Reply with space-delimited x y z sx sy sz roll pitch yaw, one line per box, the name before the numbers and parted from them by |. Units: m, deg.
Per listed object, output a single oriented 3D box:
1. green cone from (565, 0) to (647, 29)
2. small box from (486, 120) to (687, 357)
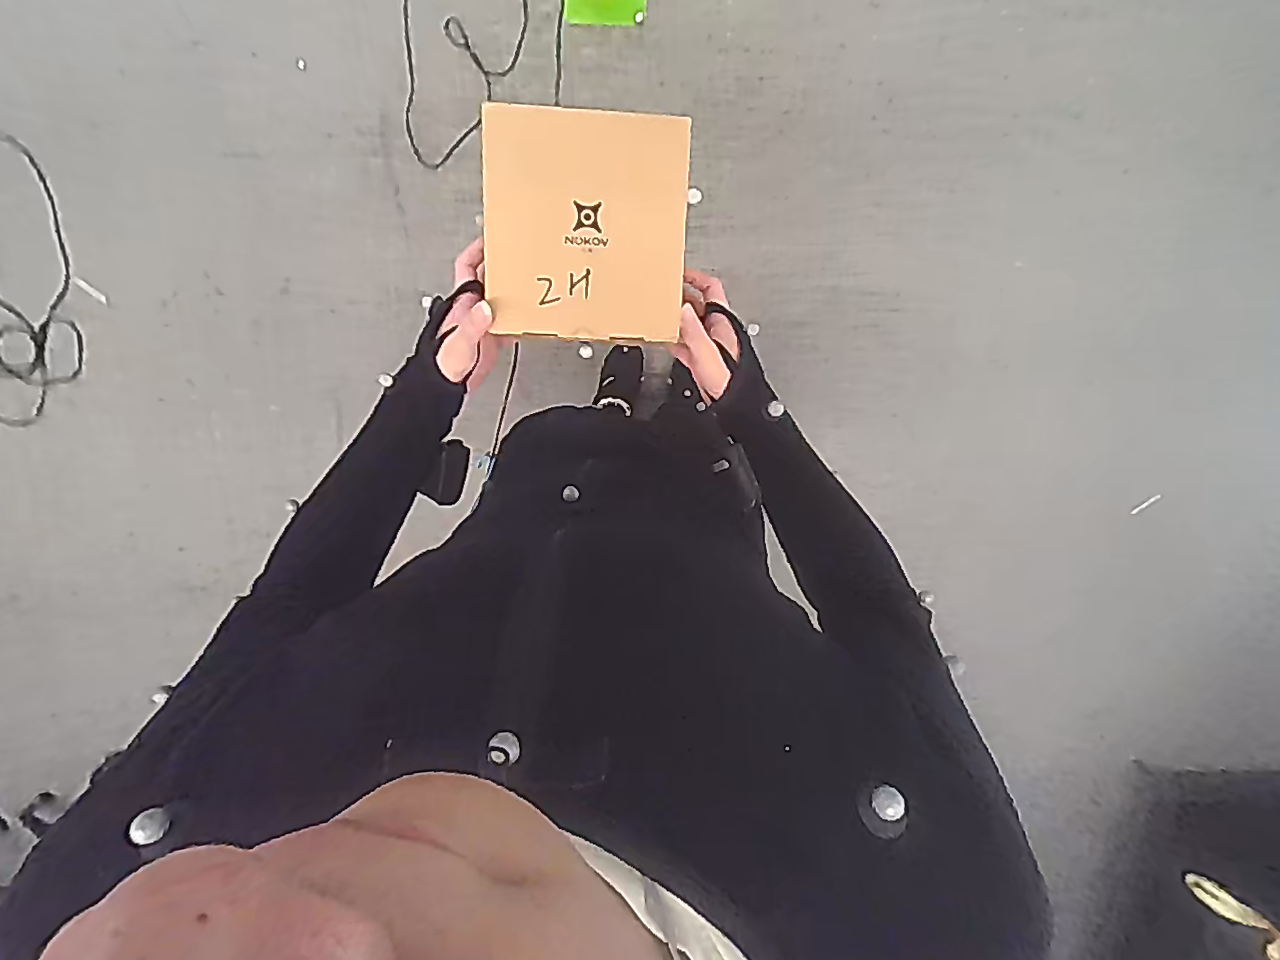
green cone | -0.083 -1.166 1.141 0.202 0.368 0.200 2 105 0
small box | -0.053 -0.217 0.534 0.168 0.176 0.179 2 102 -4
